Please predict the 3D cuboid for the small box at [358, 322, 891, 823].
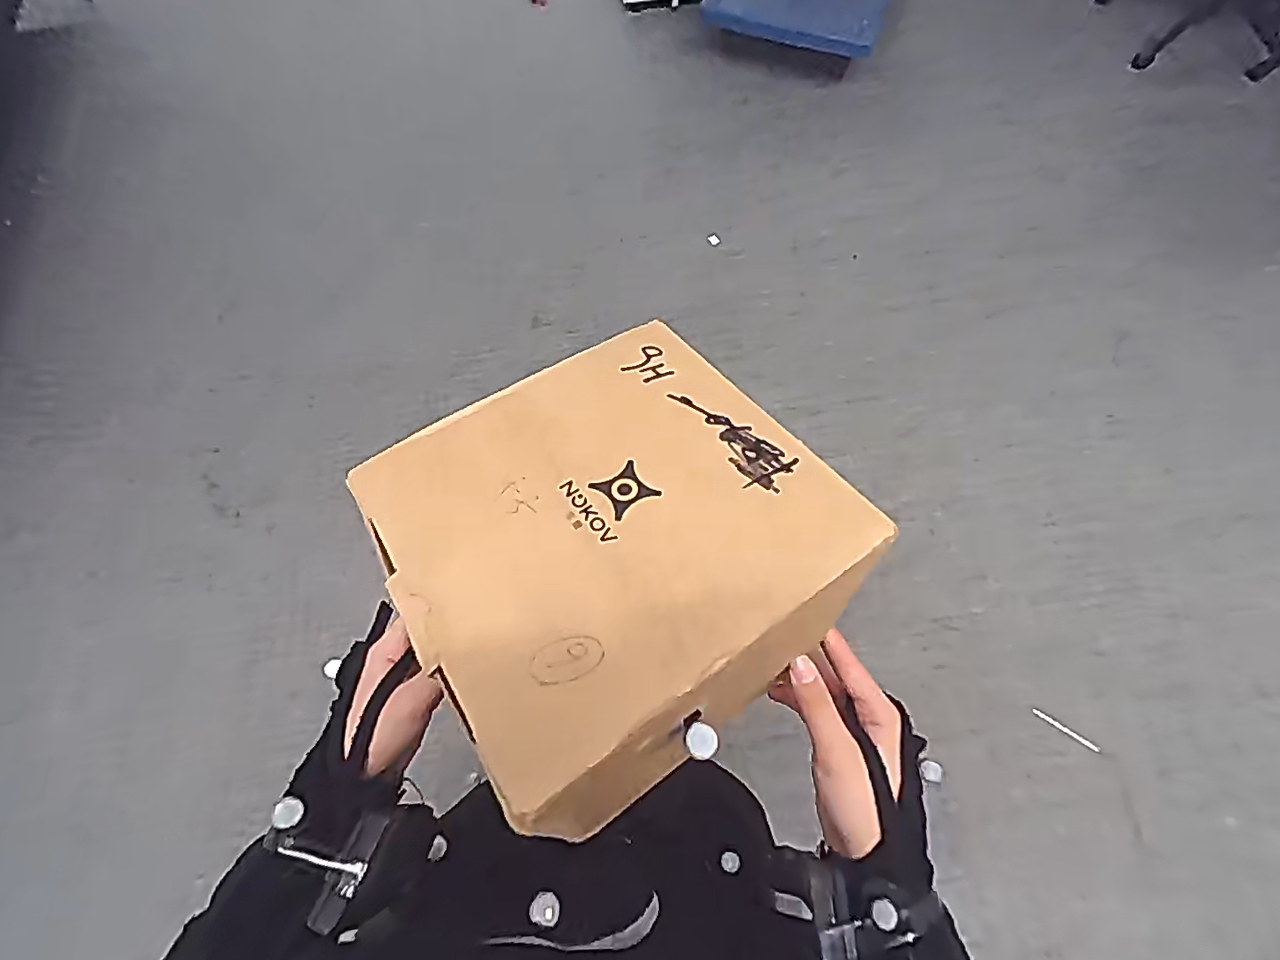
[{"bbox_3d":[-0.008,0.055,0.294,0.179,0.176,0.168,-31,59,-17],"label":"small box"}]
